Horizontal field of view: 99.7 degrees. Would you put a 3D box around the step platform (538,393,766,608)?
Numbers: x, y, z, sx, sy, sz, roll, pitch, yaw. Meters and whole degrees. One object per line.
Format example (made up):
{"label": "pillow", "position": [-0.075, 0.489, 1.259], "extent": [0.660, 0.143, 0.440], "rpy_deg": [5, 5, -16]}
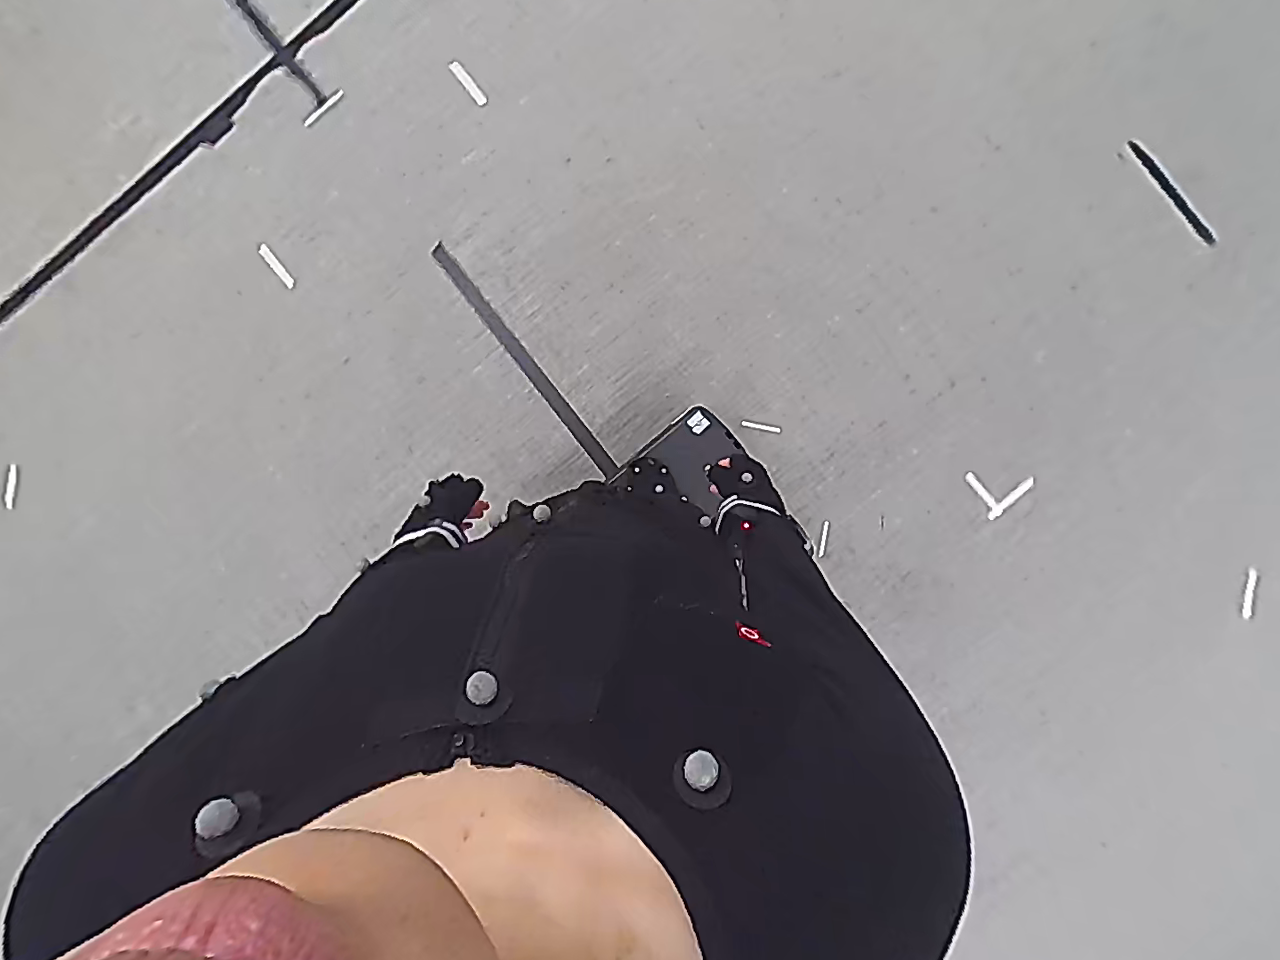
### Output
{"label": "step platform", "position": [0.033, 0.058, 1.577], "extent": [0.684, 0.204, 0.286], "rpy_deg": [-41, 91, 1]}
